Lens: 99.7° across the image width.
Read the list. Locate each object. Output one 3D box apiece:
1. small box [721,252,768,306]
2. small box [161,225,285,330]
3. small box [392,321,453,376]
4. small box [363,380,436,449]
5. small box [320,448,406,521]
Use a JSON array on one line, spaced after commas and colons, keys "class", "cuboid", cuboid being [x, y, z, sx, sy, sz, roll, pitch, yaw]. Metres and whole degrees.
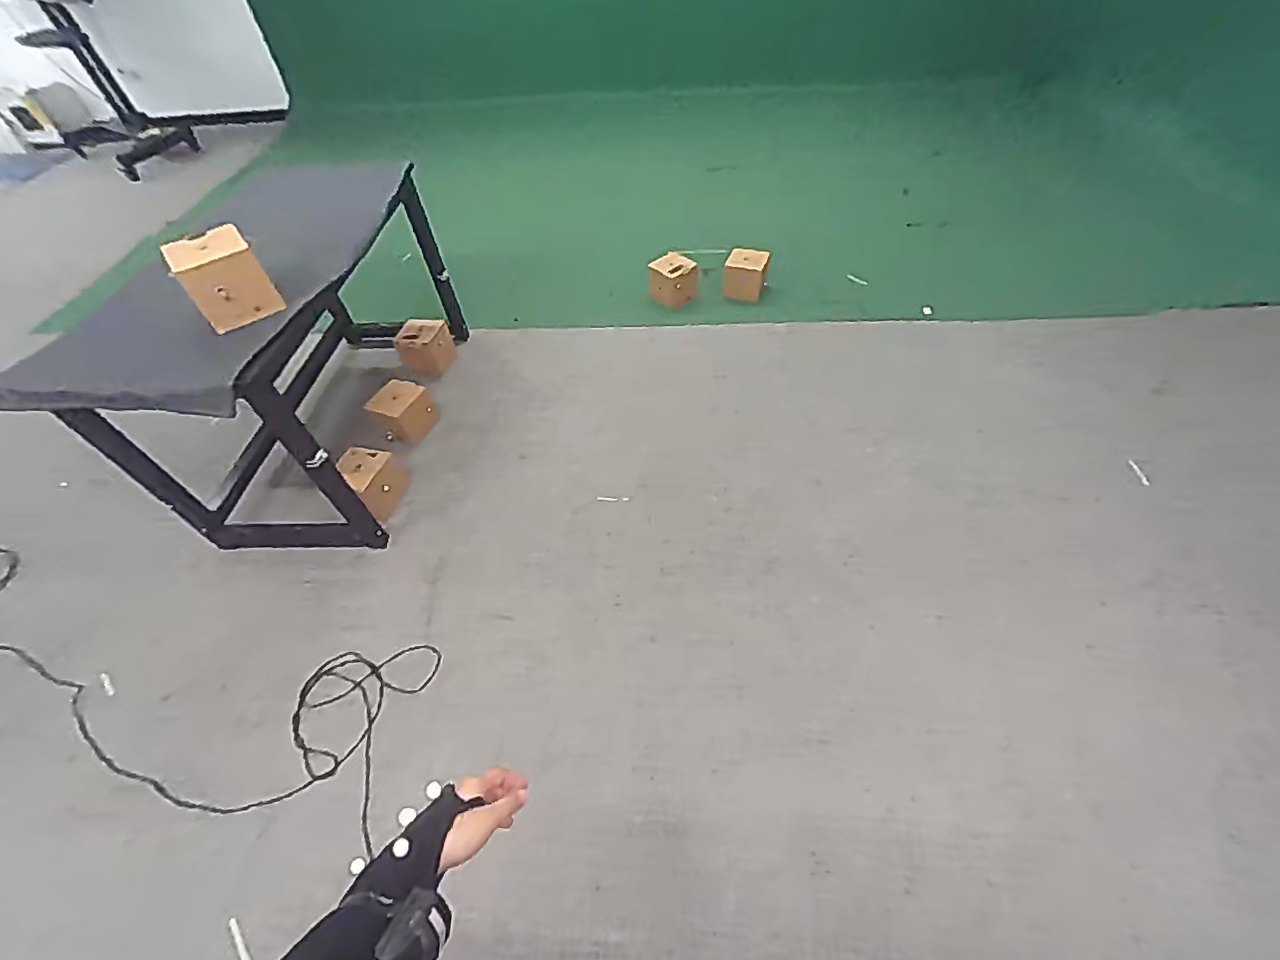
[{"class": "small box", "cuboid": [0.488, -0.946, 2.550, 0.179, 0.176, 0.168, 16, 54, 15]}, {"class": "small box", "cuboid": [-1.021, -0.494, 1.336, 0.168, 0.176, 0.179, -34, 56, -22]}, {"class": "small box", "cuboid": [-0.928, -0.564, 2.329, 0.168, 0.176, 0.179, 5, 50, 7]}, {"class": "small box", "cuboid": [-0.909, -0.251, 2.071, 0.168, 0.176, 0.179, 16, 55, 17]}, {"class": "small box", "cuboid": [-0.938, 0.018, 1.853, 0.168, 0.176, 0.179, 10, 53, 11]}]
